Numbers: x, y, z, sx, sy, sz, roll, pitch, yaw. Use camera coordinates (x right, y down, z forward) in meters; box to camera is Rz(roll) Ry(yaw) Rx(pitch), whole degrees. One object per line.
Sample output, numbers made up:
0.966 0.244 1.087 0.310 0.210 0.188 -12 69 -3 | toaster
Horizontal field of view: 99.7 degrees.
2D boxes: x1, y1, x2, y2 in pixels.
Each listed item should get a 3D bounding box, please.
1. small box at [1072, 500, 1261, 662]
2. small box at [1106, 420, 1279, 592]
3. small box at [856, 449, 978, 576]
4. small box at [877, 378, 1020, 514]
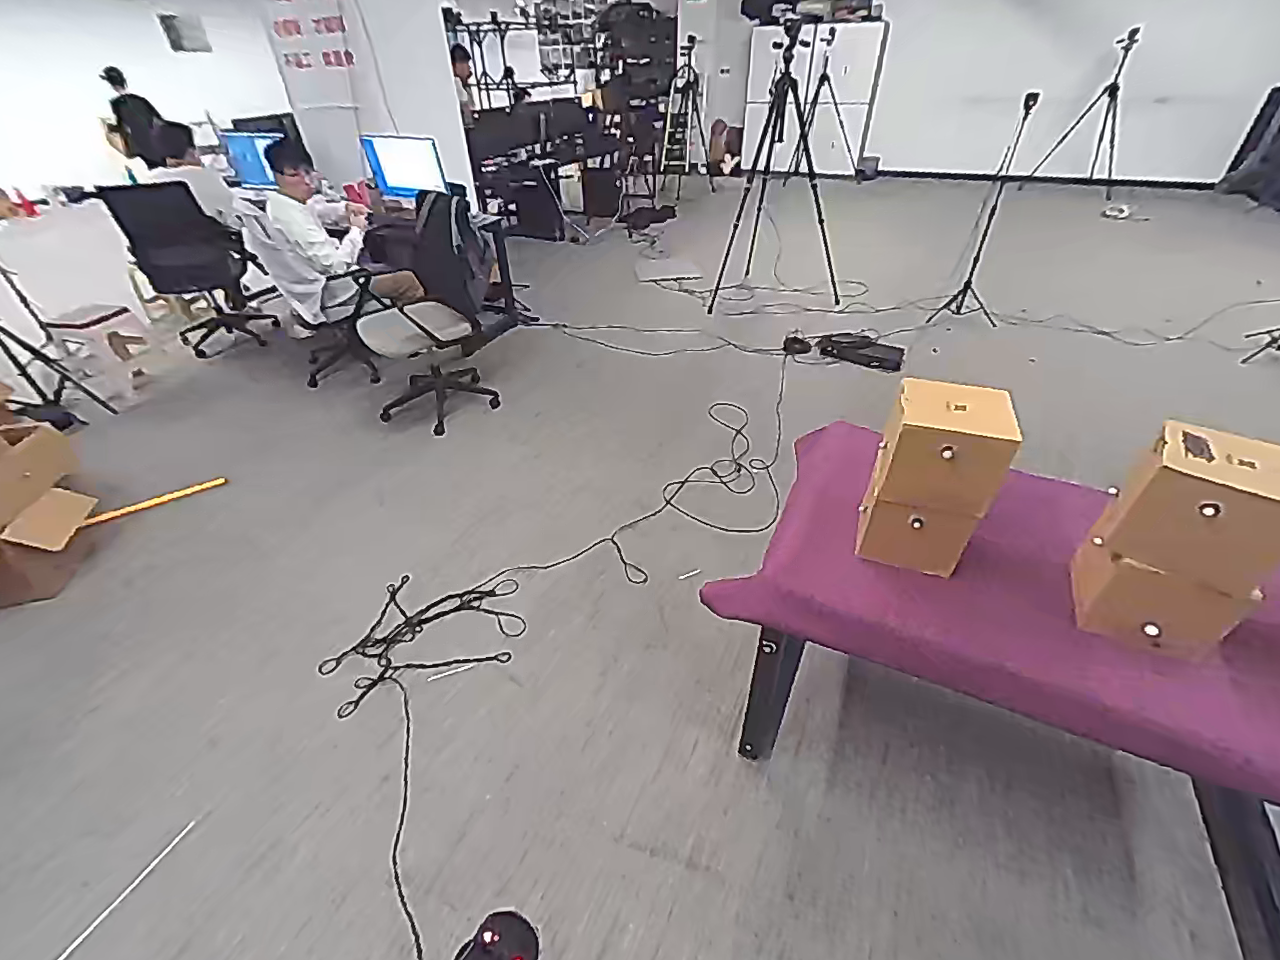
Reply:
0.868 0.168 0.917 0.168 0.176 0.179 17 42 23 | small box
0.853 0.037 0.819 0.179 0.176 0.168 26 46 30 | small box
0.538 0.064 1.067 0.179 0.176 0.168 13 41 18 | small box
0.536 -0.060 0.963 0.179 0.176 0.168 11 41 17 | small box
